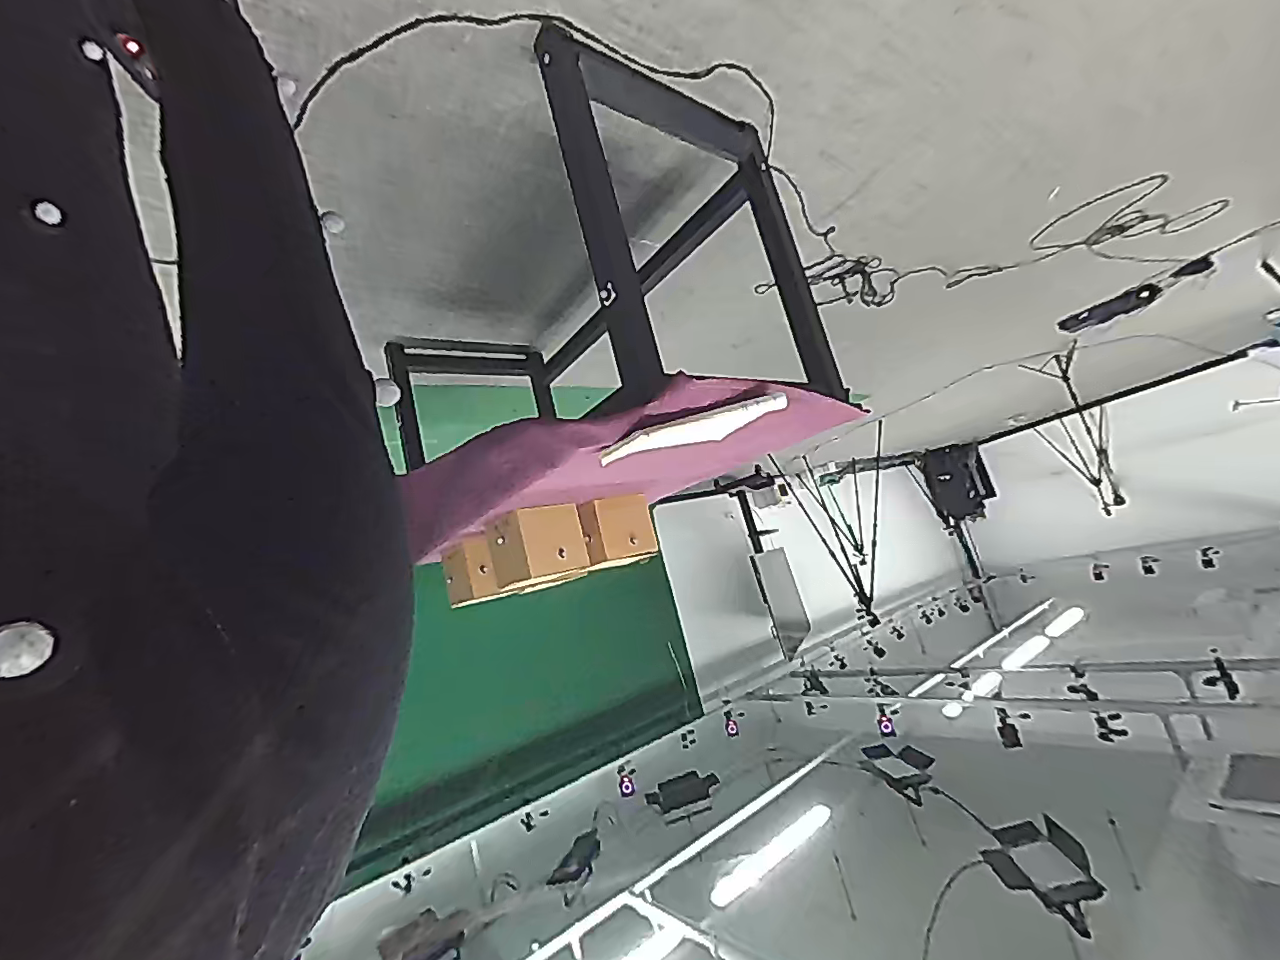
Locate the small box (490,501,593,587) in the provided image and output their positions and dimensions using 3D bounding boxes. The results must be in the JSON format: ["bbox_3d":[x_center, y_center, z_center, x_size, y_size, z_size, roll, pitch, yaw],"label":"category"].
[{"bbox_3d":[-0.247,0.155,1.348,0.179,0.176,0.168,-5,165,-44],"label":"small box"}]

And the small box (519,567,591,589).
[{"bbox_3d":[-0.290,0.240,1.737,0.179,0.176,0.168,-3,165,-45],"label":"small box"}]

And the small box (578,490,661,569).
[{"bbox_3d":[-0.074,0.134,1.496,0.179,0.176,0.168,-7,167,-38],"label":"small box"}]
